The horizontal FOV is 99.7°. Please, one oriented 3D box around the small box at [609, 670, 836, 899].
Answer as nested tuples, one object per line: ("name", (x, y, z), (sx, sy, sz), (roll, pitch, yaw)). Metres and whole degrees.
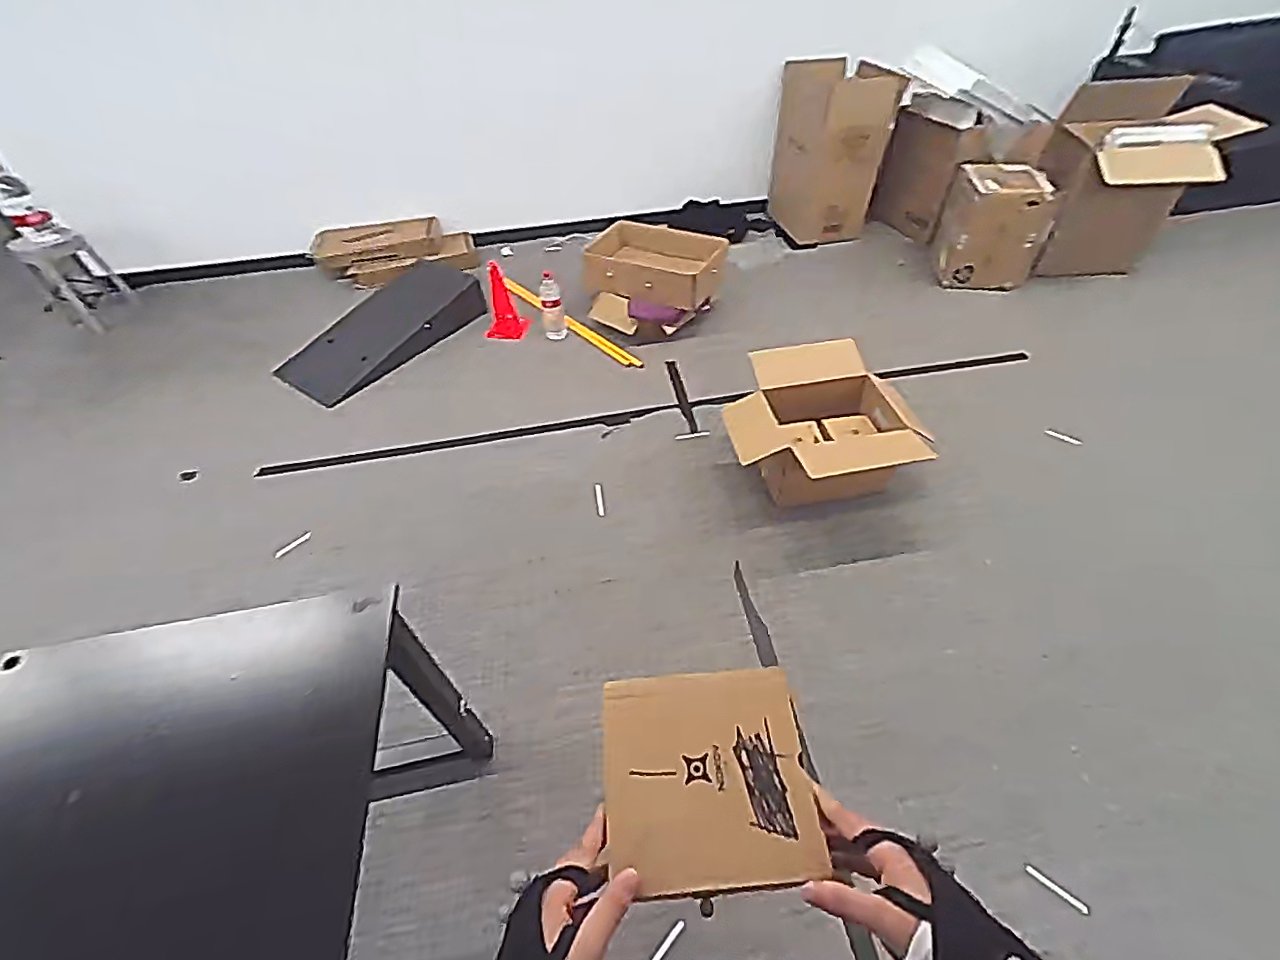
("small box", (0.063, 0.297, 0.525), (0.179, 0.176, 0.168), (-4, 51, -1))
